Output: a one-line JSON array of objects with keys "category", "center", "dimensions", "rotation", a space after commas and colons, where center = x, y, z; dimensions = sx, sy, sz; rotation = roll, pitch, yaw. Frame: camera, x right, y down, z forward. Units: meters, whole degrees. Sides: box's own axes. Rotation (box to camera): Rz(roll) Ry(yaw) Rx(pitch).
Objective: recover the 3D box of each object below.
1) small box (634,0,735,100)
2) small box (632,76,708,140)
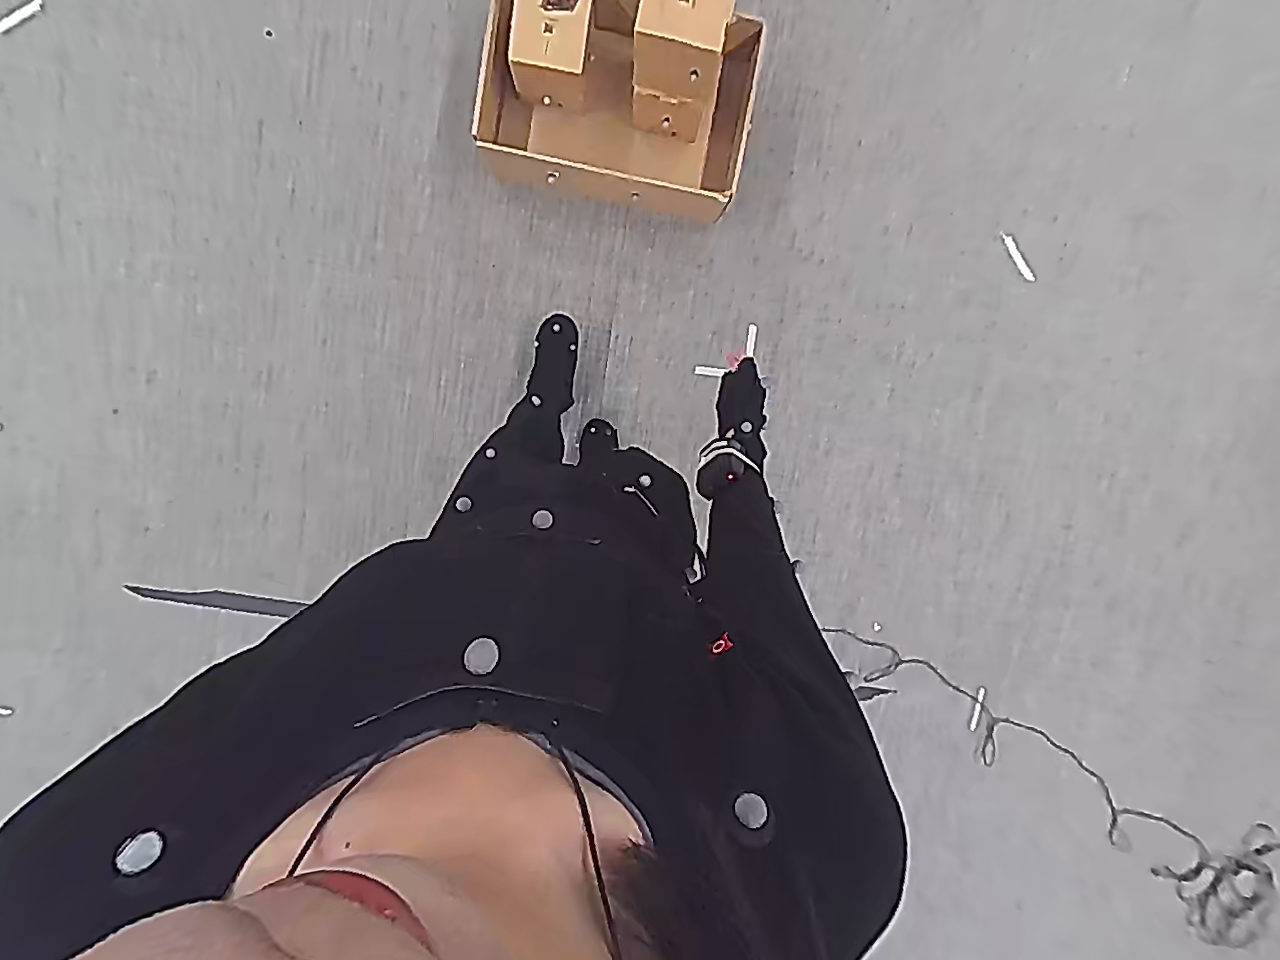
[{"category": "small box", "center": [0.090, -0.925, 1.110], "dimensions": [0.179, 0.176, 0.168], "rotation": [12, 95, -2]}, {"category": "small box", "center": [0.081, -0.942, 1.274], "dimensions": [0.168, 0.176, 0.179], "rotation": [12, 98, -1]}]
